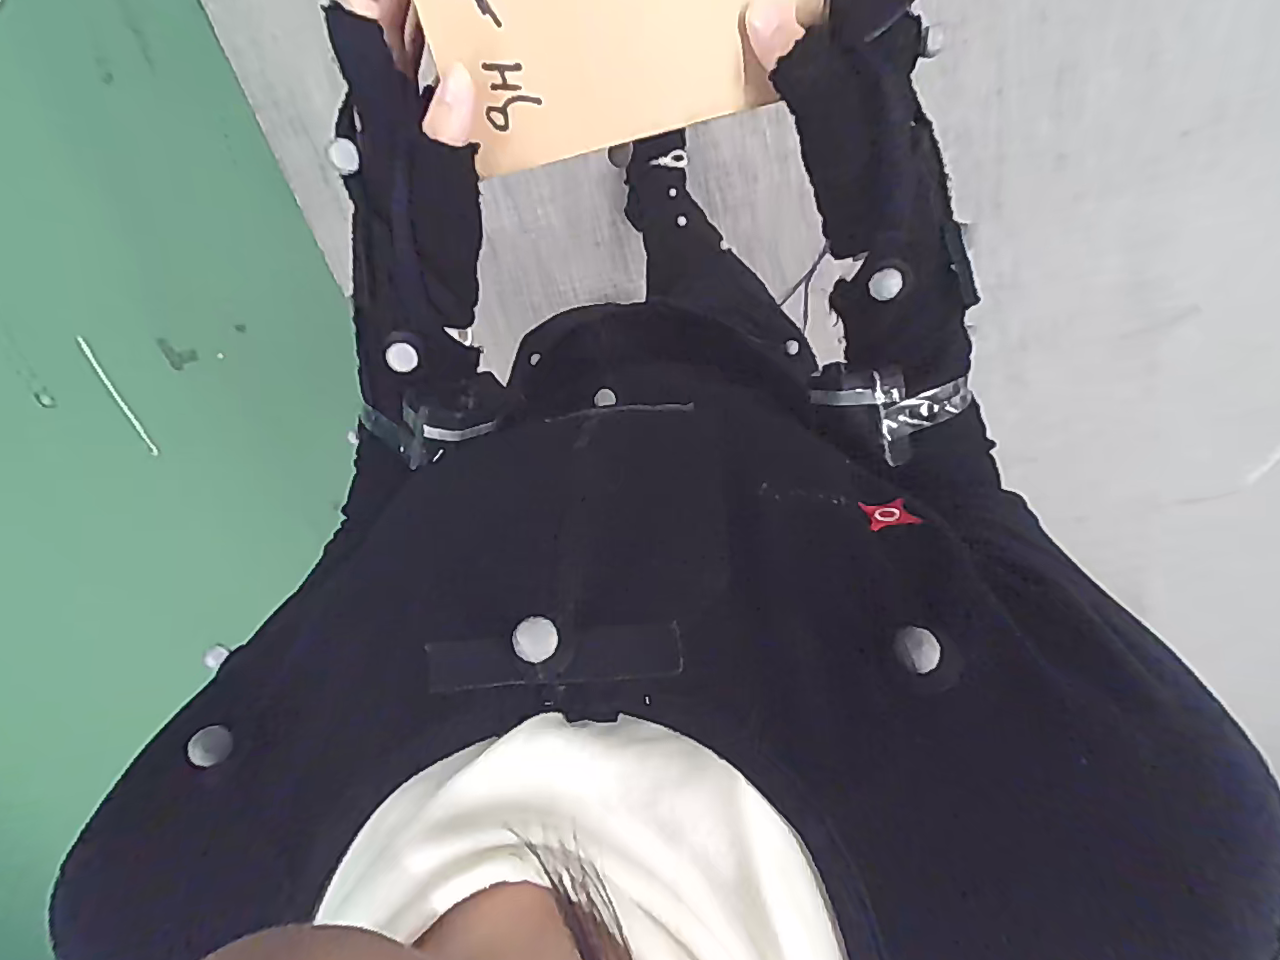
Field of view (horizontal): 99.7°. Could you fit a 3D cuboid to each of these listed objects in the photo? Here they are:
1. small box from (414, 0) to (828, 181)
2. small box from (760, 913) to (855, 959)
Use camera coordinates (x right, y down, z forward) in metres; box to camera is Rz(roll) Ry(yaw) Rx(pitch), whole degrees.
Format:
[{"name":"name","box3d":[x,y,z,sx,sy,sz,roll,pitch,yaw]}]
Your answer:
[{"name":"small box","box3d":[-0.027,-0.273,0.277,0.179,0.176,0.168,-18,124,0]},{"name":"small box","box3d":[0.340,0.989,1.050,0.179,0.176,0.168,-15,114,5]}]
